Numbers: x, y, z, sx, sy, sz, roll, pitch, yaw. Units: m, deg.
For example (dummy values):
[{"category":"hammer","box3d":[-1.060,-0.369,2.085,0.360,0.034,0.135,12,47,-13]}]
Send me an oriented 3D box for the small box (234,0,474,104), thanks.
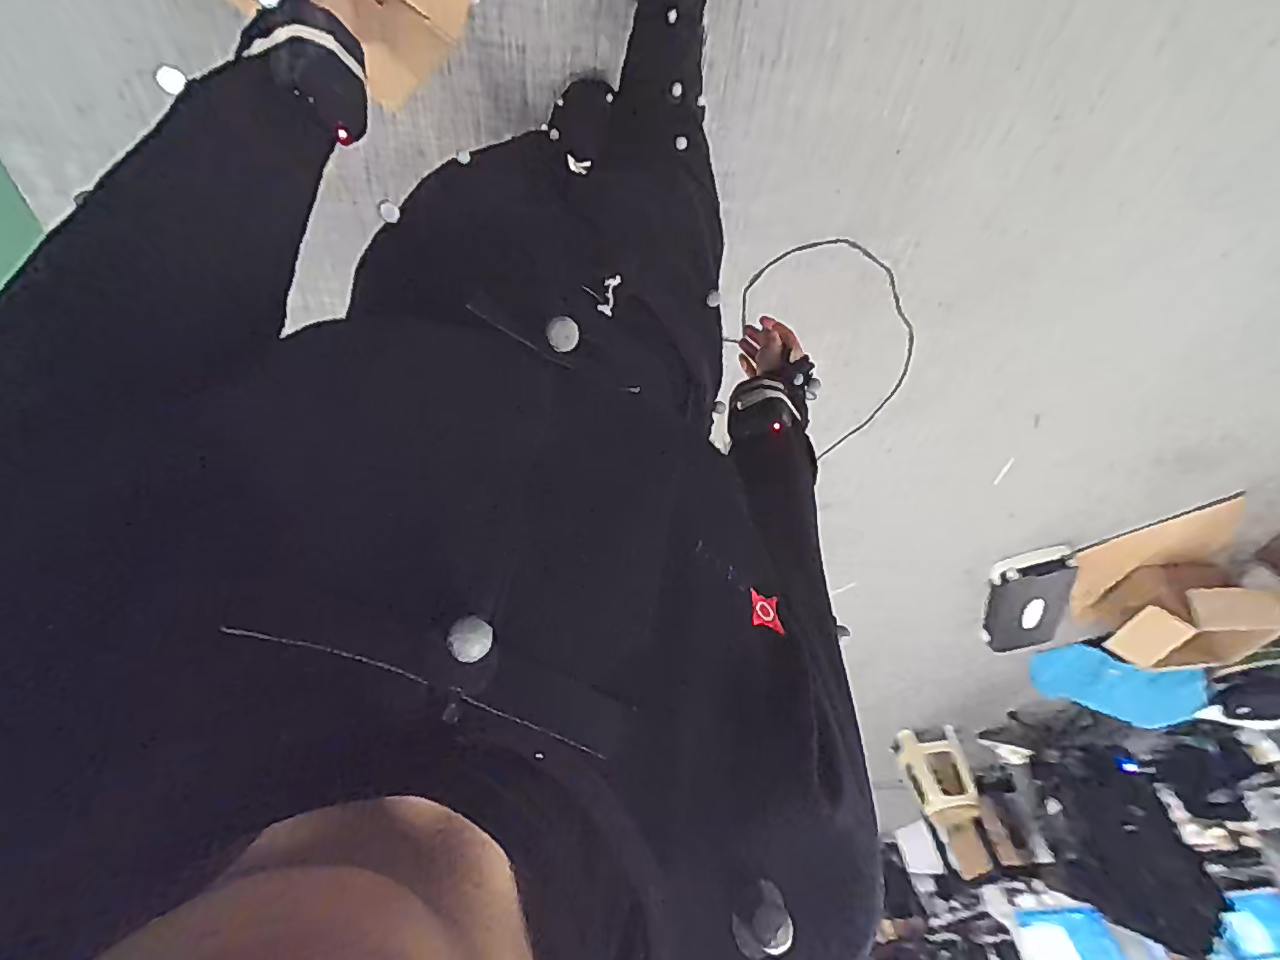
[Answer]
[{"category":"small box","box3d":[-0.251,-0.497,0.488,0.168,0.176,0.179,17,87,-44]}]
